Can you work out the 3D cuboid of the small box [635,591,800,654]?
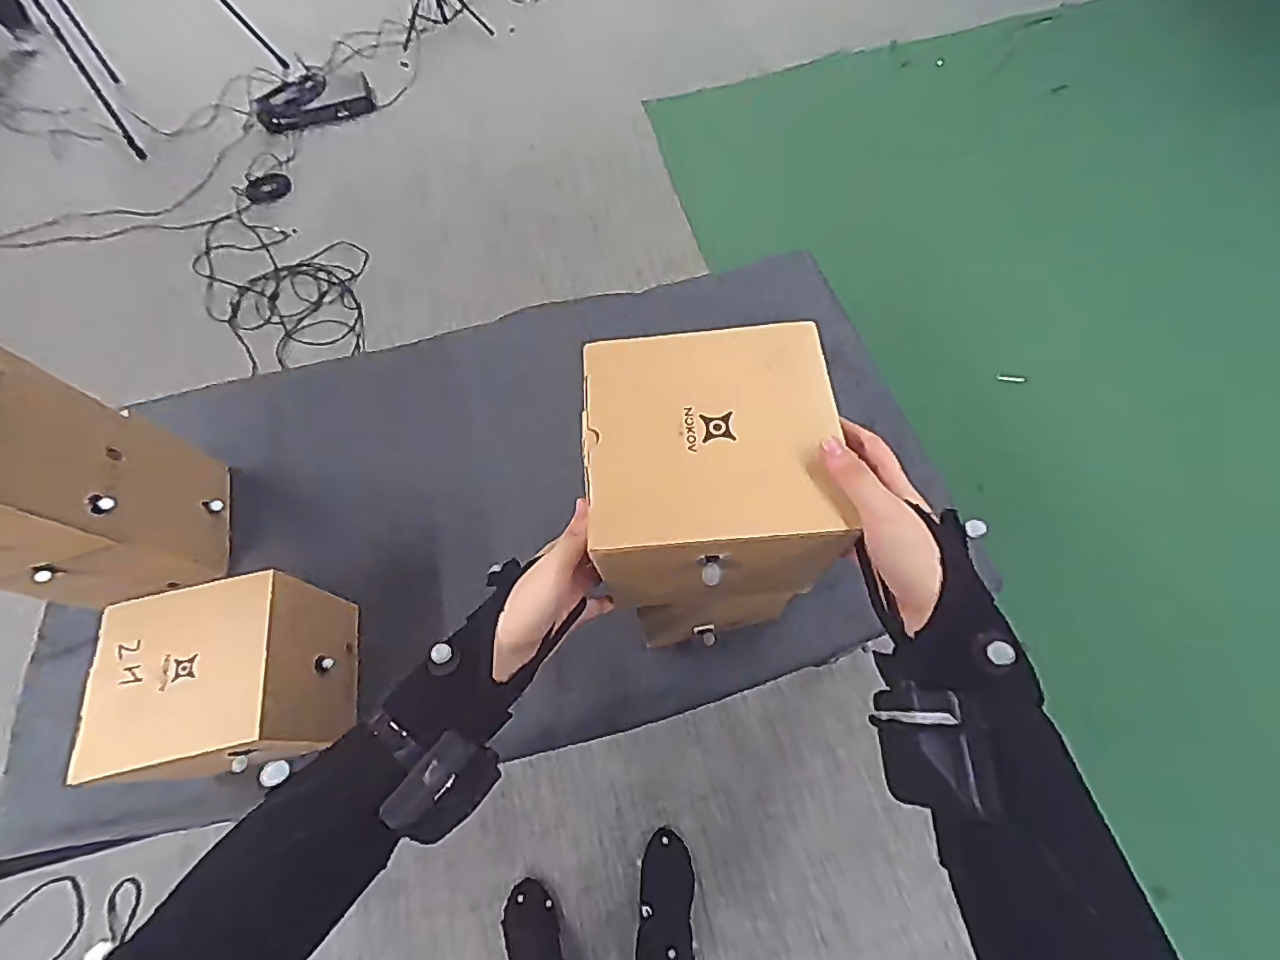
[{"bbox_3d":[0.065,0.083,0.621,0.168,0.176,0.179,-14,63,-1],"label":"small box"}]

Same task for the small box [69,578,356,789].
[{"bbox_3d":[-0.437,0.223,0.591,0.179,0.176,0.168,-12,63,-2],"label":"small box"}]

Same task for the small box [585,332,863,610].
[{"bbox_3d":[0.055,0.005,0.443,0.179,0.176,0.168,-6,65,3],"label":"small box"}]

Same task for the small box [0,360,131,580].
[{"bbox_3d":[-0.671,-0.006,0.540,0.179,0.176,0.168,-18,65,-4],"label":"small box"}]

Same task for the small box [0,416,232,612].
[{"bbox_3d":[-0.666,0.051,0.696,0.168,0.176,0.179,-18,65,-5],"label":"small box"}]
